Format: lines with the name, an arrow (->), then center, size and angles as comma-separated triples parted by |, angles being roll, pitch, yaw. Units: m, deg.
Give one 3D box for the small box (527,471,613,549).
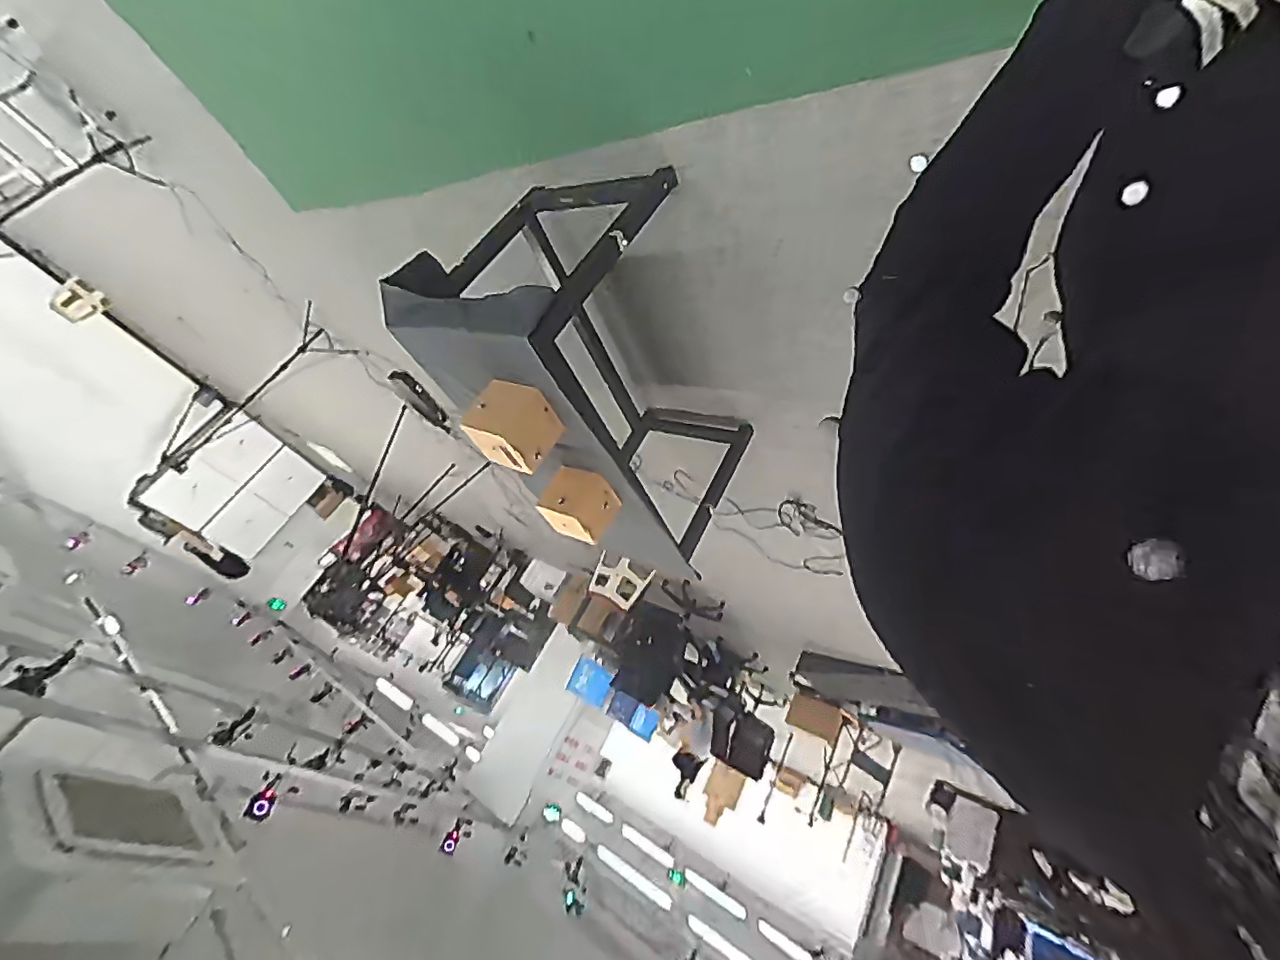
small box -> -0.216, 0.090, 1.711 | 0.179, 0.176, 0.168 | 13, 150, 33
